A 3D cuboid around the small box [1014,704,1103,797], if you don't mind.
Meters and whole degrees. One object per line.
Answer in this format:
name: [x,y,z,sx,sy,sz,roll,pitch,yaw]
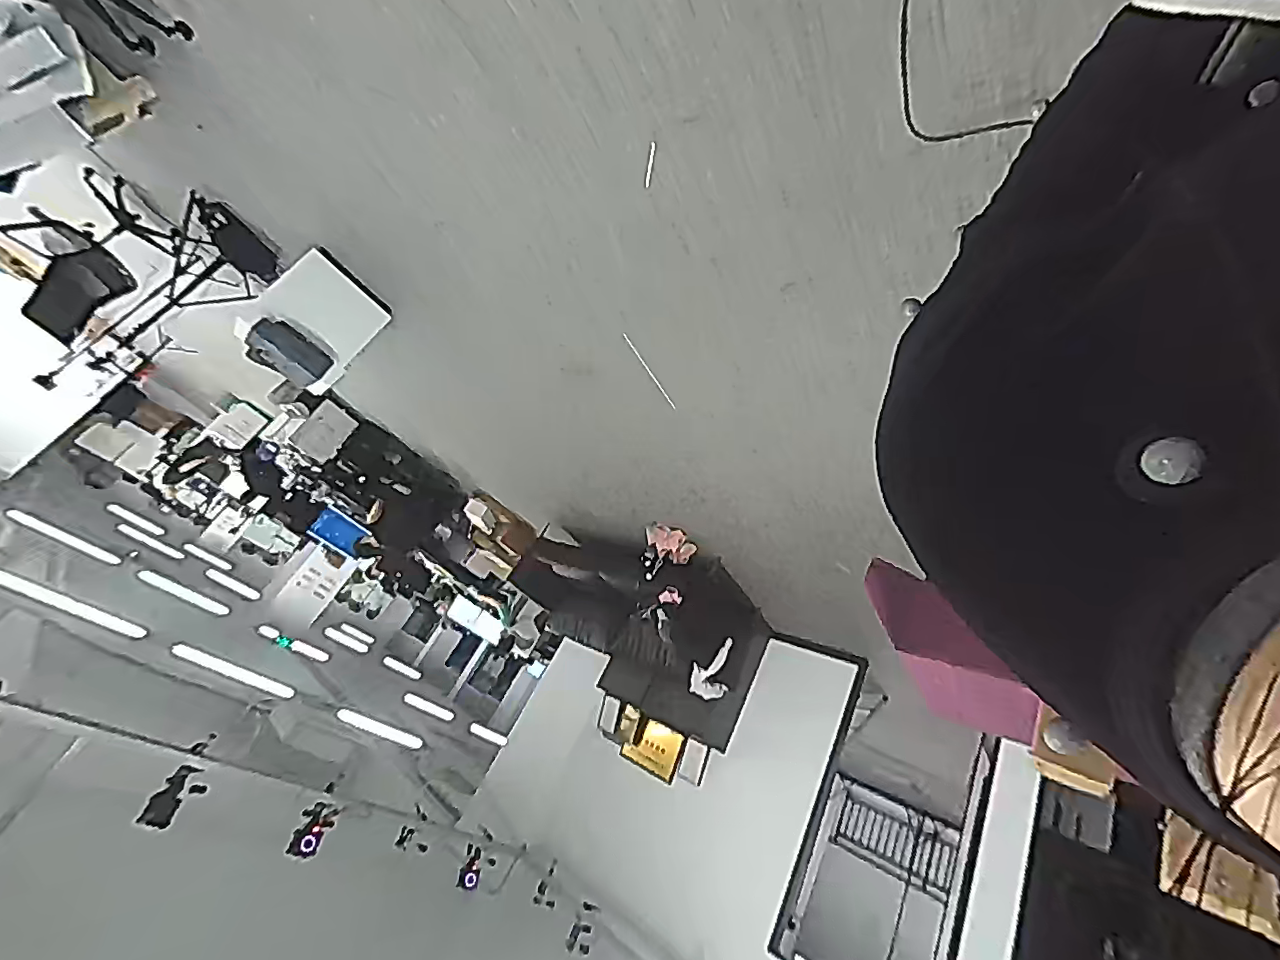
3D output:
small box: [1.198,0.770,1.551,0.179,0.176,0.168,11,149,36]
